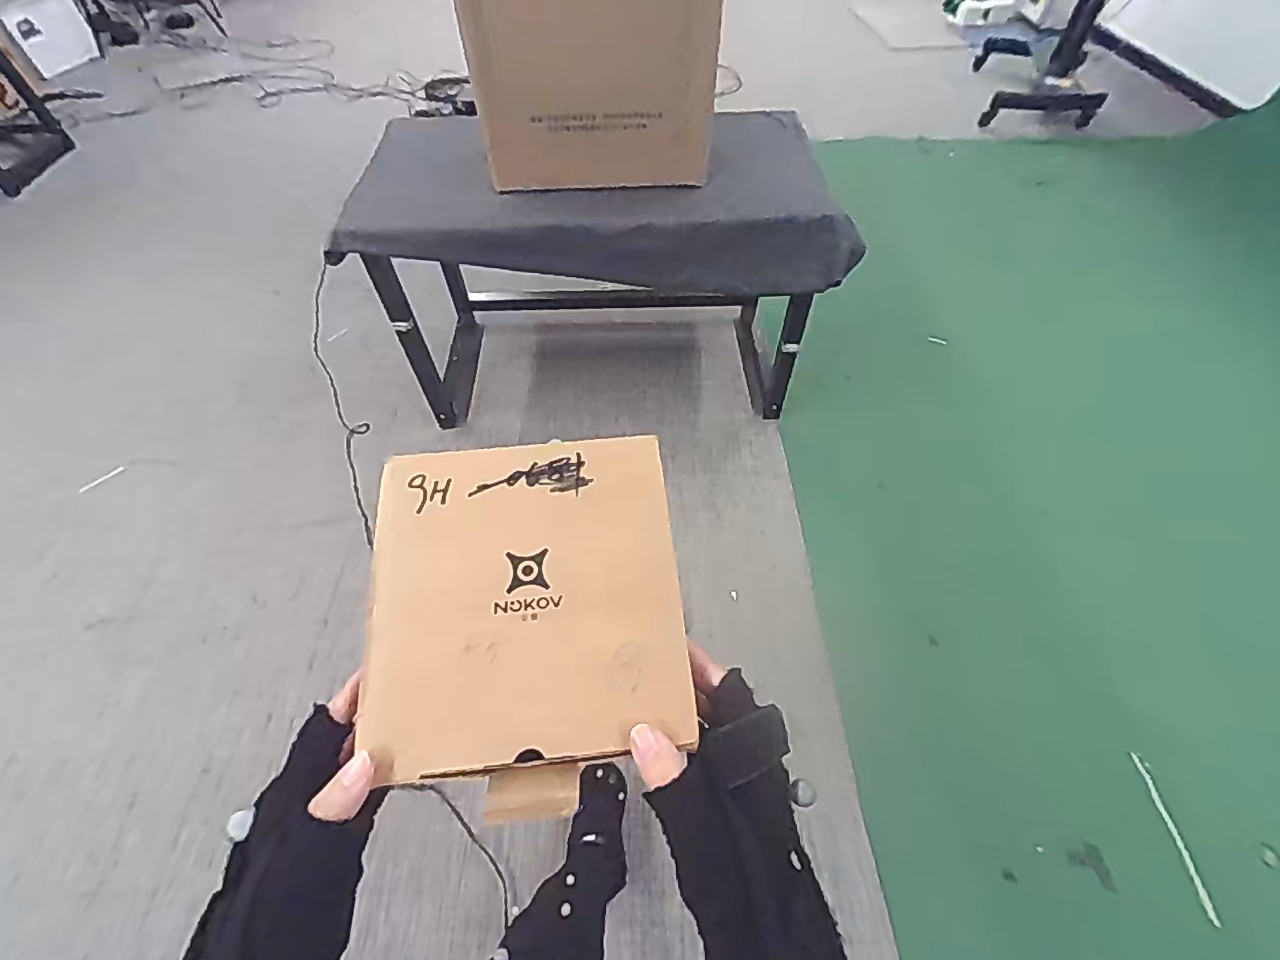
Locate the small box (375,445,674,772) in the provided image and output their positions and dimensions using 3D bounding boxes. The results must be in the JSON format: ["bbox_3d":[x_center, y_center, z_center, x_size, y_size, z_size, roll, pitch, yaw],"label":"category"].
[{"bbox_3d":[-0.071,0.097,0.394,0.168,0.176,0.179,-7,66,-4],"label":"small box"}]
